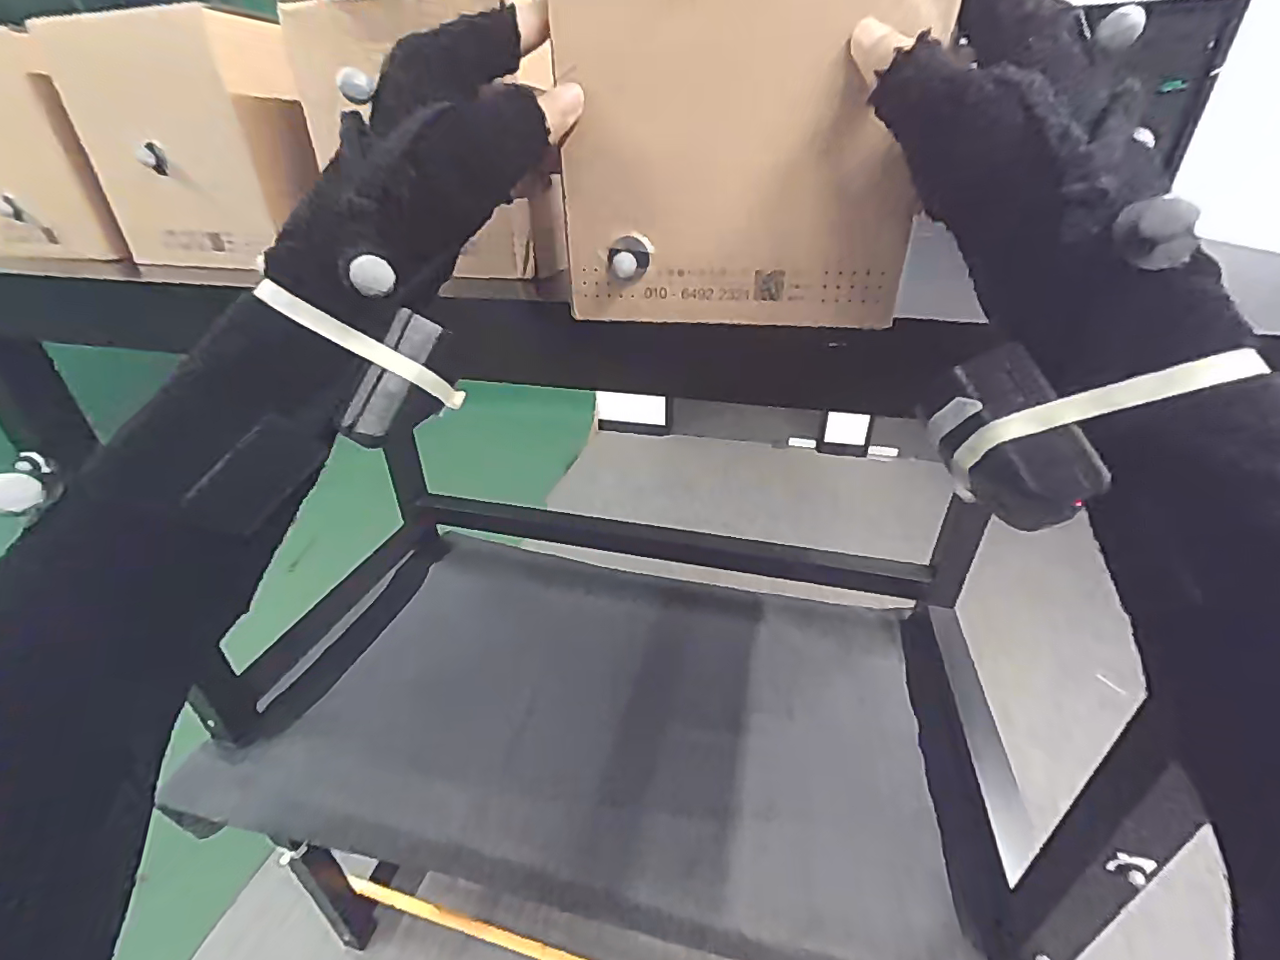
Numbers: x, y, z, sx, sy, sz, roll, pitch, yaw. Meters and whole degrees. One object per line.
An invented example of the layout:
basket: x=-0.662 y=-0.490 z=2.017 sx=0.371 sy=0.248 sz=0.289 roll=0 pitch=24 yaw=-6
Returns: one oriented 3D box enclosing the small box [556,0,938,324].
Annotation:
small box: x=0.061 y=-0.197 z=0.324 sx=0.168 sy=0.176 sz=0.179 roll=5 pitch=30 yaw=10
